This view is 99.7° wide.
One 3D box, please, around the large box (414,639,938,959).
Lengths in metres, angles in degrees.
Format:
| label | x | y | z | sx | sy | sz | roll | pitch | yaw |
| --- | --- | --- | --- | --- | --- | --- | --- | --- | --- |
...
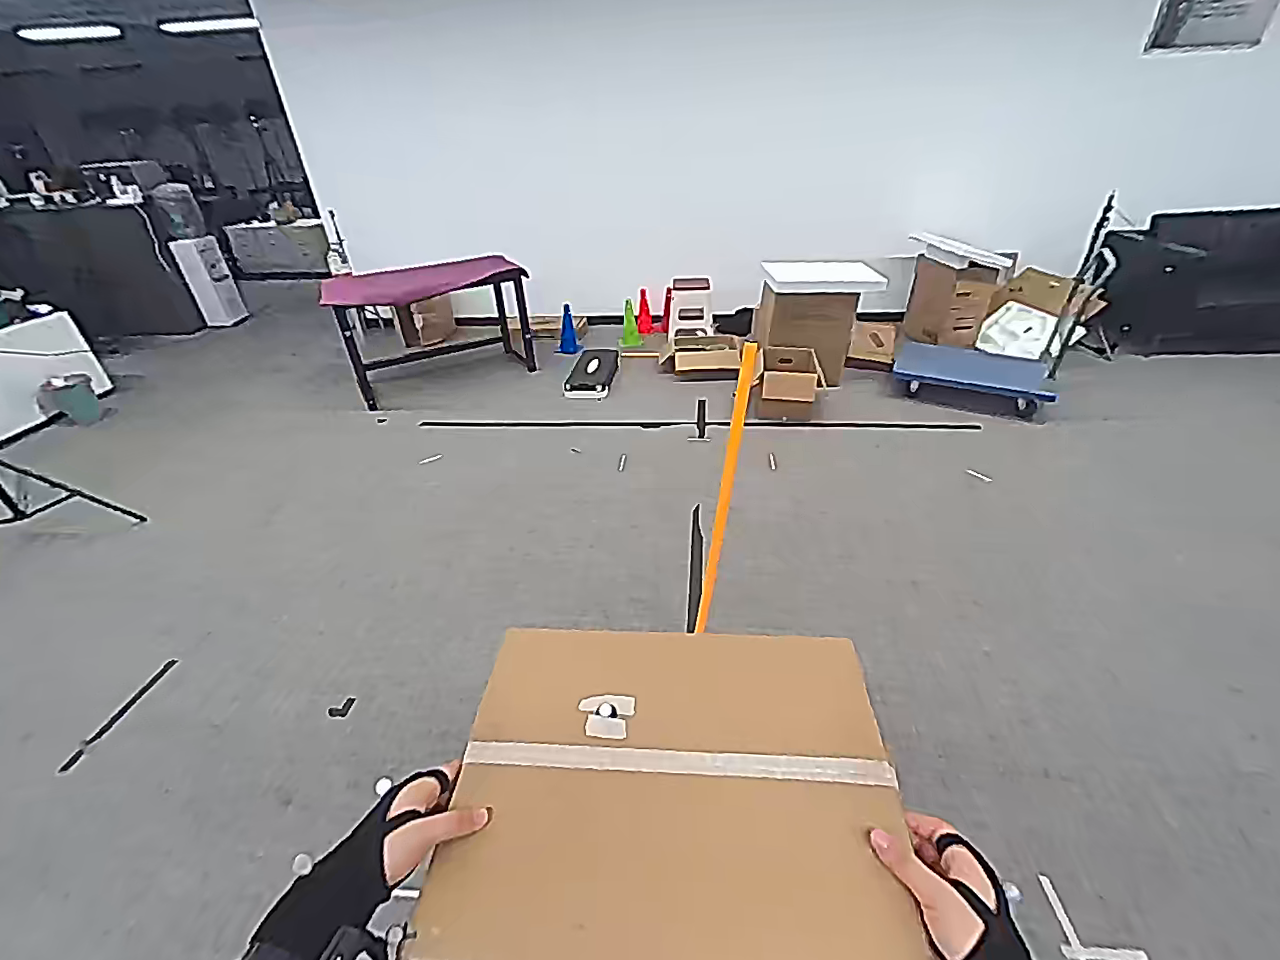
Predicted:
| label | x | y | z | sx | sy | sz | roll | pitch | yaw |
| --- | --- | --- | --- | --- | --- | --- | --- | --- | --- |
| large box | 0.044 | 0.399 | 0.606 | 0.408 | 0.320 | 0.320 | -1 | 35 | 7 |
